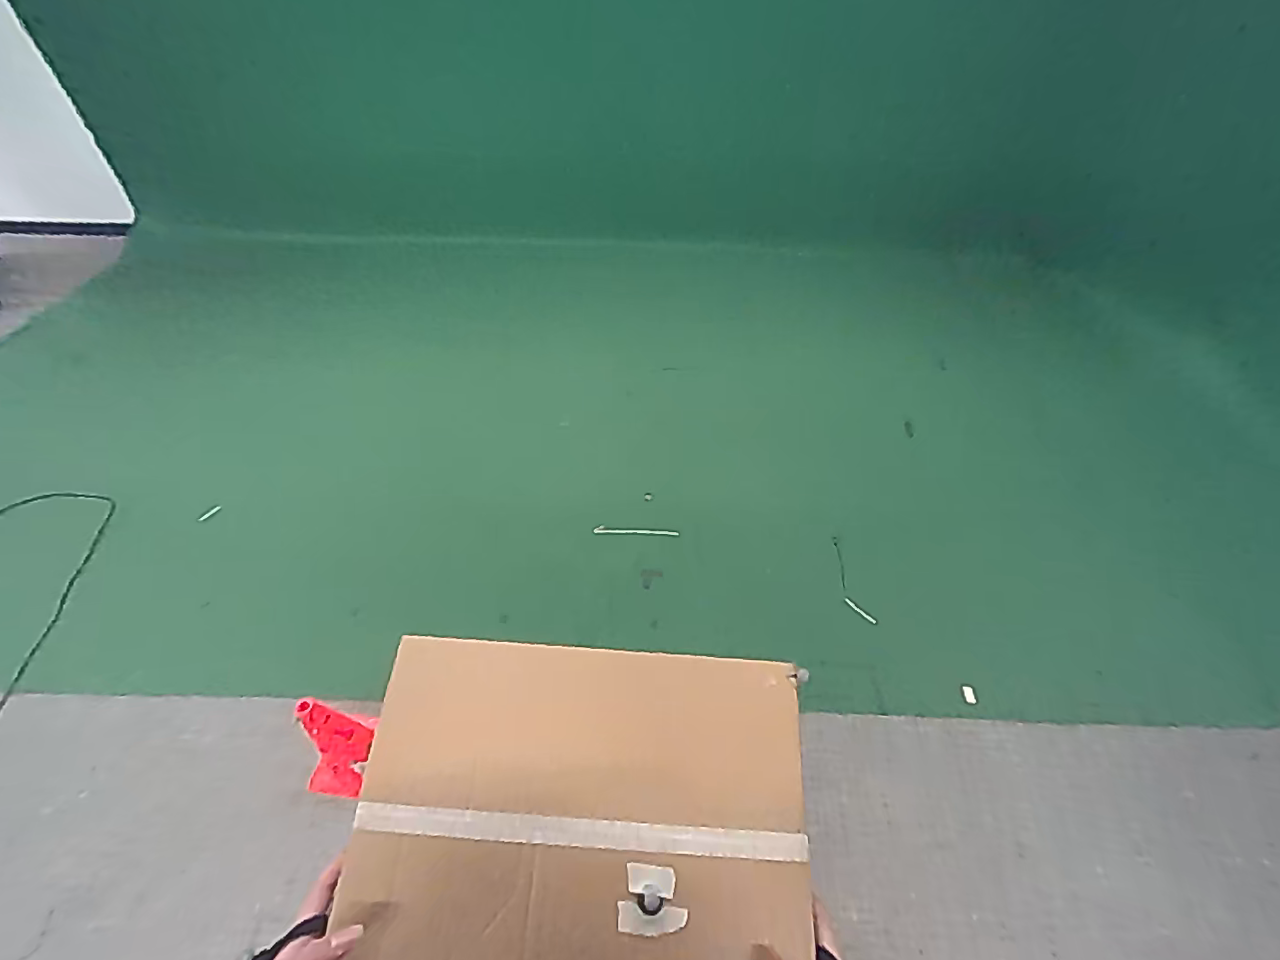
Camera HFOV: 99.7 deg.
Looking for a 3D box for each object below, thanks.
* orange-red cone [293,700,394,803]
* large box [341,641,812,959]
[{"bbox_3d":[-0.766,0.639,1.347,0.199,0.360,0.198,6,46,6],"label":"orange-red cone"},{"bbox_3d":[-0.052,0.383,0.630,0.408,0.320,0.320,4,64,0],"label":"large box"}]
